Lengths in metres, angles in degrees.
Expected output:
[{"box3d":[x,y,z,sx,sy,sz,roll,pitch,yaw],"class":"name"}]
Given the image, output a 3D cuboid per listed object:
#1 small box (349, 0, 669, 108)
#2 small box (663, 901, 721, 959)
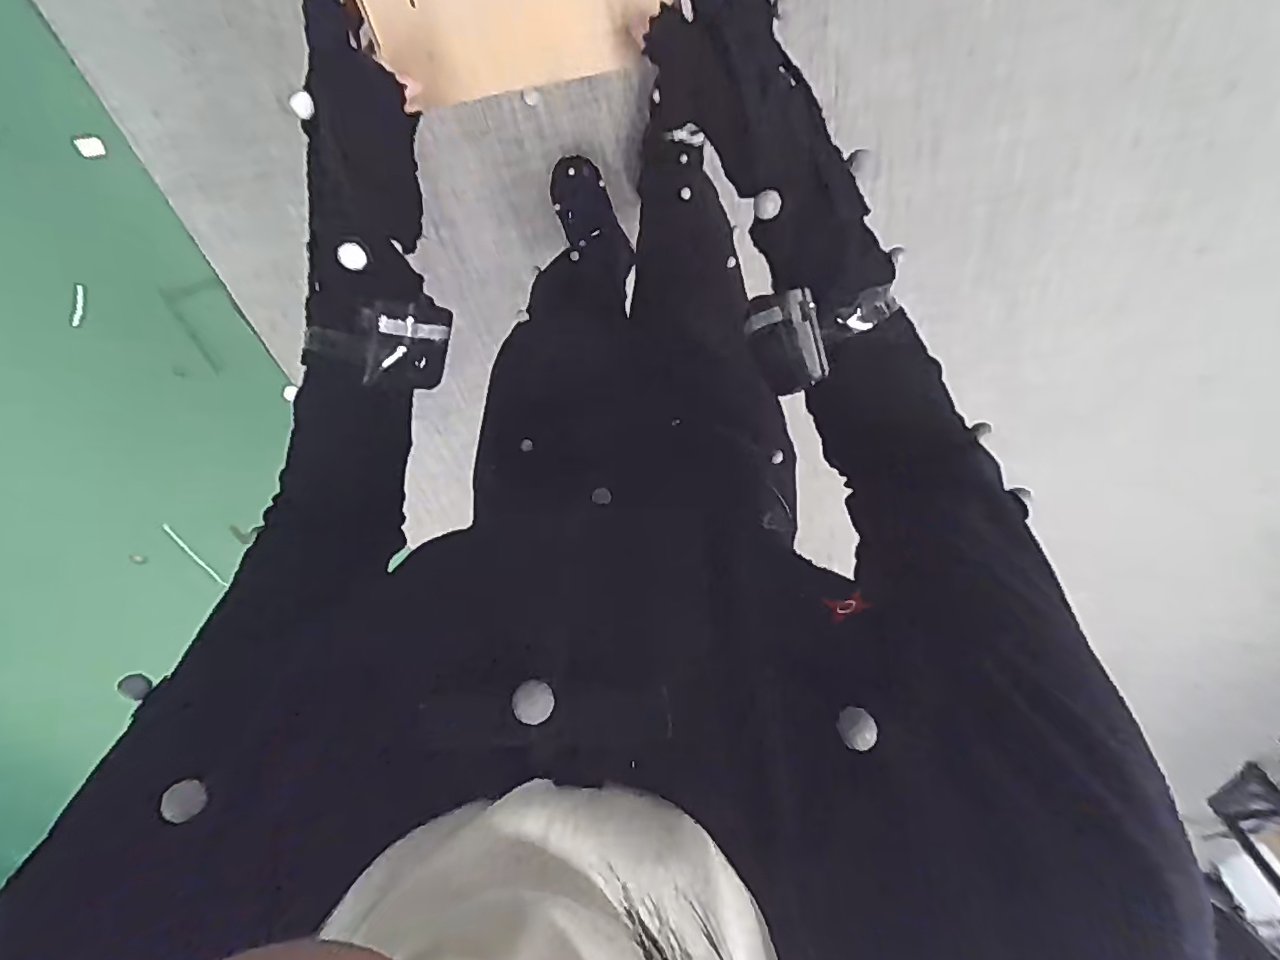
[{"box3d":[-0.081,-0.349,0.329,0.179,0.176,0.168,-8,133,4],"class":"small box"},{"box3d":[0.175,1.549,1.827,0.179,0.176,0.168,-10,130,7],"class":"small box"}]
